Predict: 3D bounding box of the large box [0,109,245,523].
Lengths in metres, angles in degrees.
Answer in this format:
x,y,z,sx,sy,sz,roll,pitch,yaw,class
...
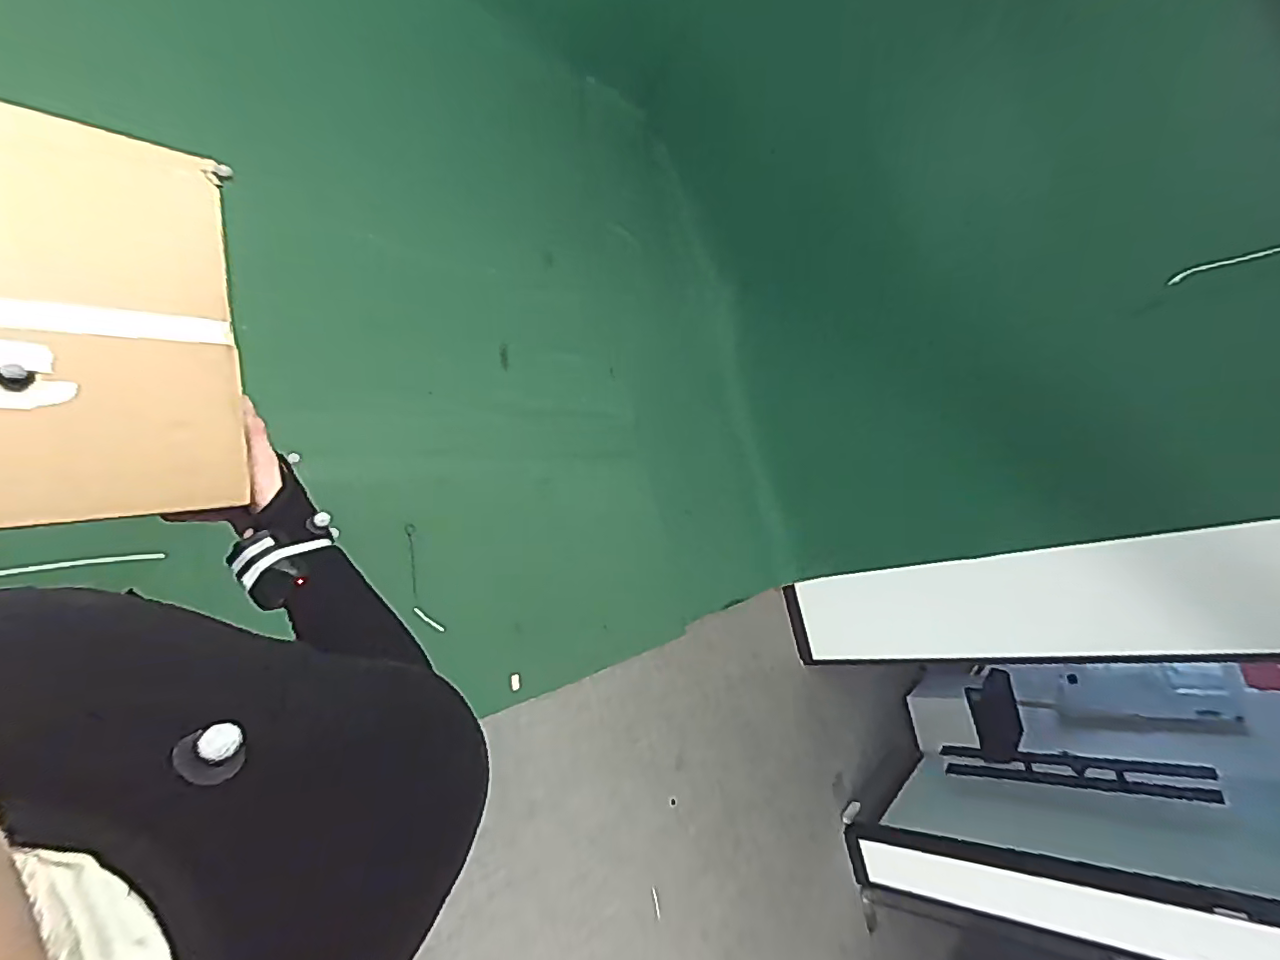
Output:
x,y,z,sx,sy,sz,roll,pitch,yaw,class
-0.628,-0.113,0.454,0.408,0.320,0.320,-7,95,-48,large box
